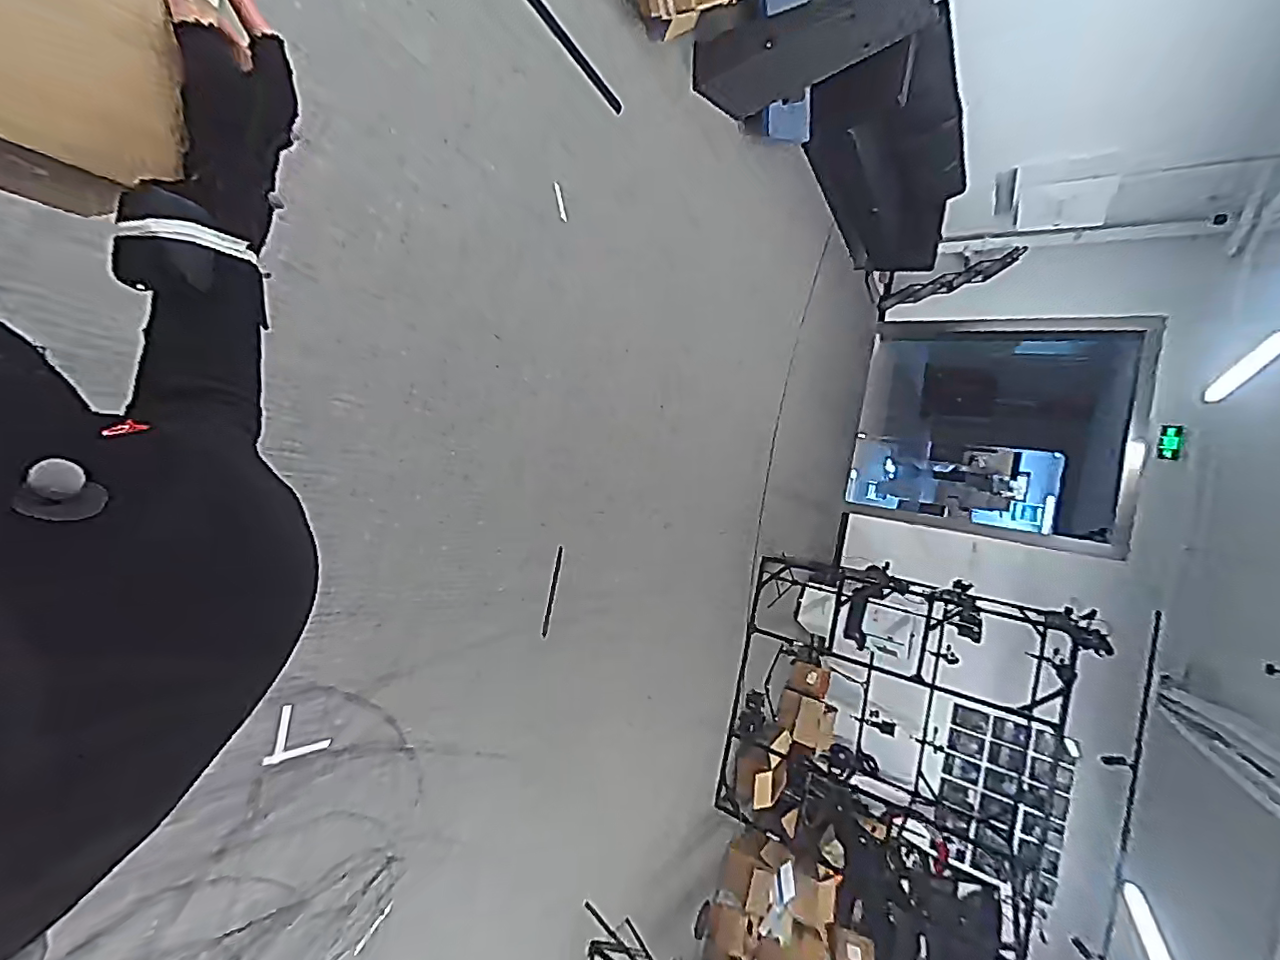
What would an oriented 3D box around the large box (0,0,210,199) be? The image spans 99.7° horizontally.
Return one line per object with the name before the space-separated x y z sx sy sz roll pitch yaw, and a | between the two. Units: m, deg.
large box | -0.551 -0.420 0.323 0.408 0.320 0.320 7 99 -57
